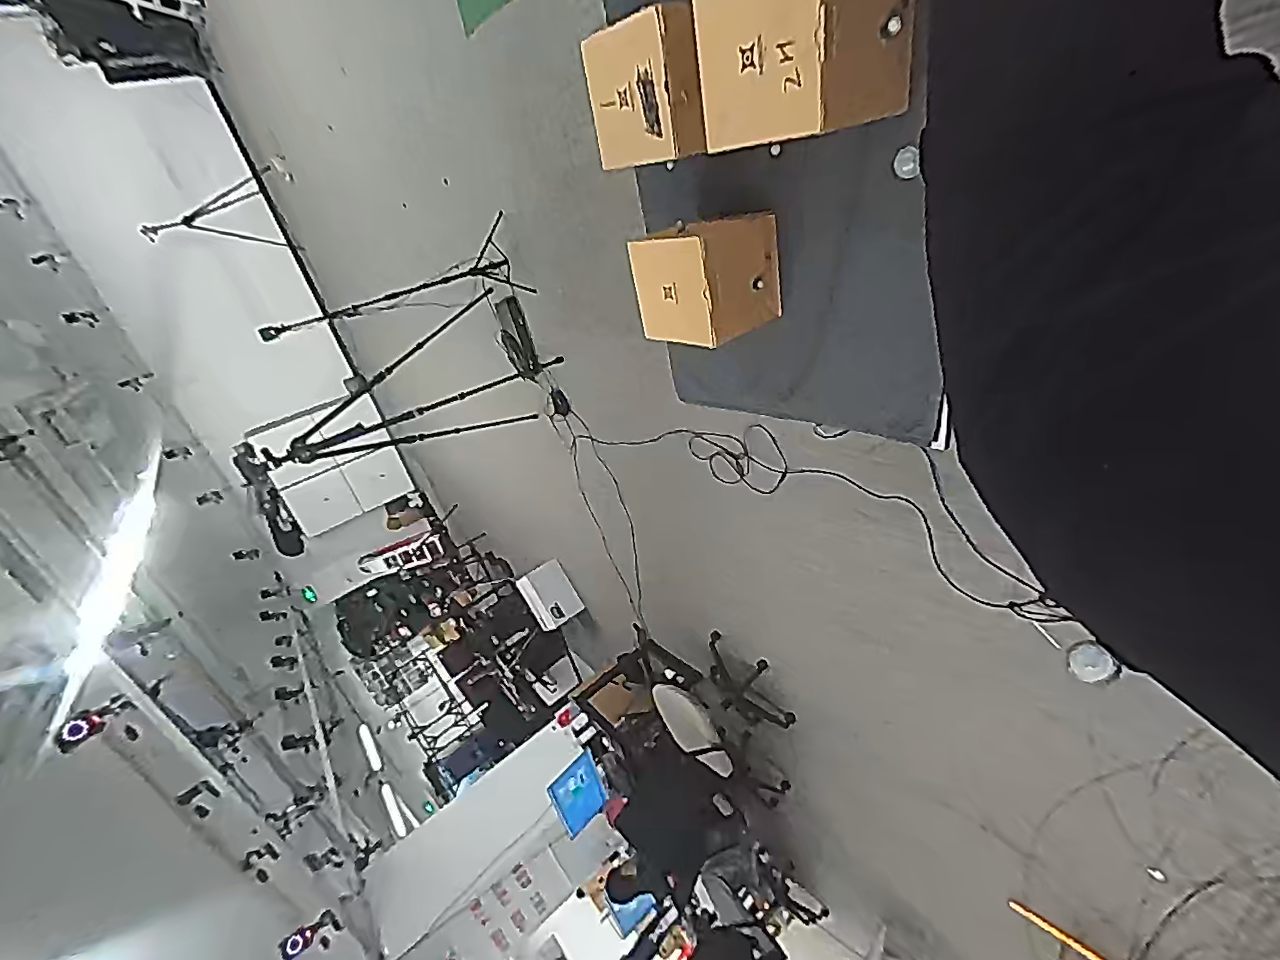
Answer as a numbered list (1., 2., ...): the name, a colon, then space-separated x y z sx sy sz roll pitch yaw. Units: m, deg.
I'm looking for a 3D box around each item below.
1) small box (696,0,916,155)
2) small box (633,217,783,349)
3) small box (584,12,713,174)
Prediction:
1. small box: 0.192 -0.495 0.633 0.179 0.176 0.168 26 138 47
2. small box: 0.117 -0.335 0.914 0.179 0.176 0.168 23 135 47
3. small box: 0.049 -0.566 0.797 0.179 0.176 0.168 26 138 46
